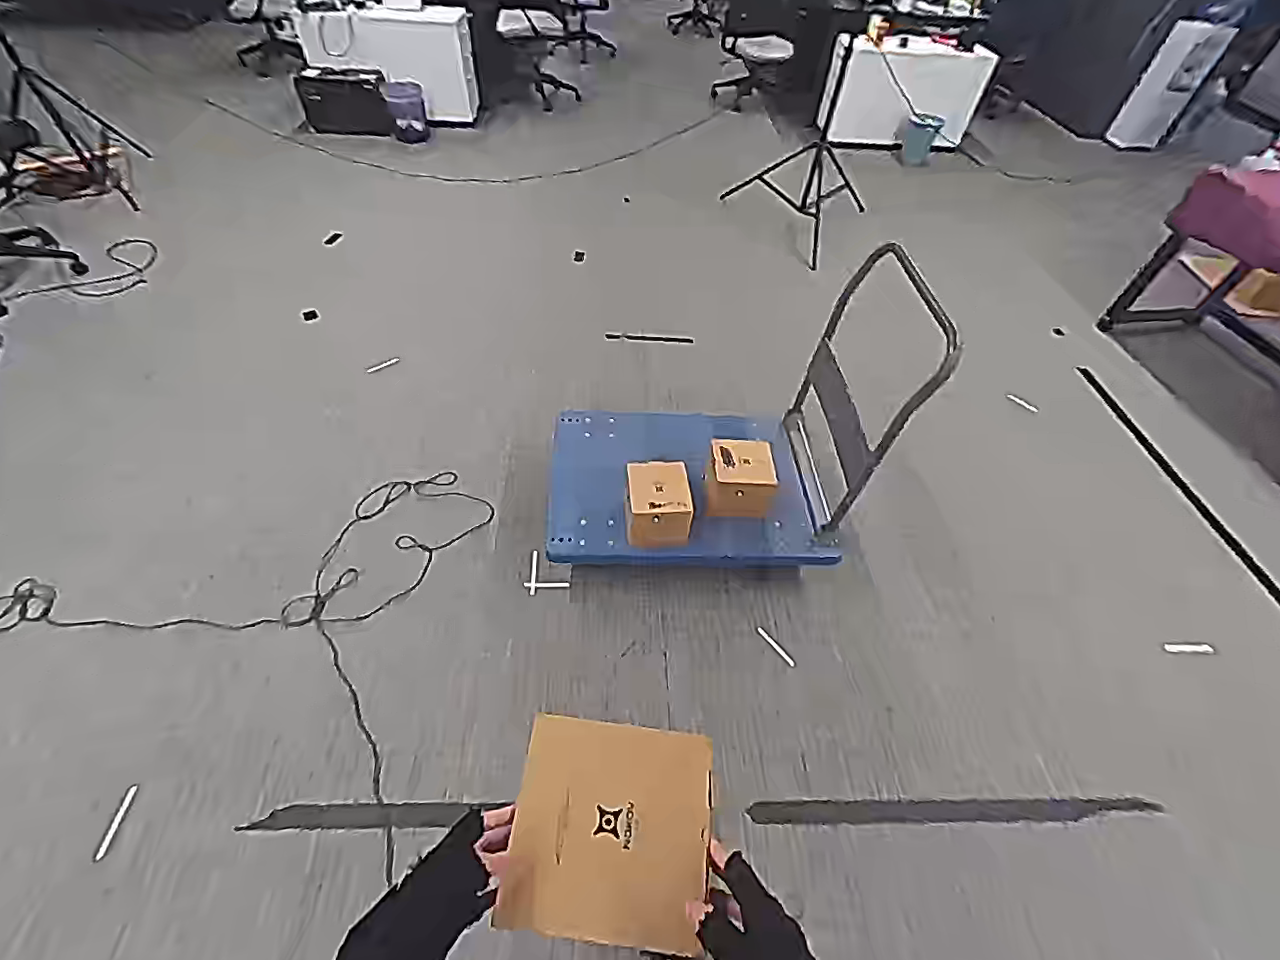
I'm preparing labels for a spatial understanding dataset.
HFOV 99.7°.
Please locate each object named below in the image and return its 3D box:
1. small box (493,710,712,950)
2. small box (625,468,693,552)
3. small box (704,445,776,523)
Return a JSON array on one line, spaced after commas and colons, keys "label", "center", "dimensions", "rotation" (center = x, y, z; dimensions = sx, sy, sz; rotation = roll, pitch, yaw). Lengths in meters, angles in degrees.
[{"label": "small box", "center": [-0.028, 0.350, 0.543], "dimensions": [0.179, 0.176, 0.168], "rotation": [6, 50, 2]}, {"label": "small box", "center": [0.046, 0.085, 1.534], "dimensions": [0.168, 0.176, 0.179], "rotation": [-2, 49, -6]}, {"label": "small box", "center": [0.289, 0.014, 1.613], "dimensions": [0.179, 0.176, 0.168], "rotation": [3, 50, -3]}]
